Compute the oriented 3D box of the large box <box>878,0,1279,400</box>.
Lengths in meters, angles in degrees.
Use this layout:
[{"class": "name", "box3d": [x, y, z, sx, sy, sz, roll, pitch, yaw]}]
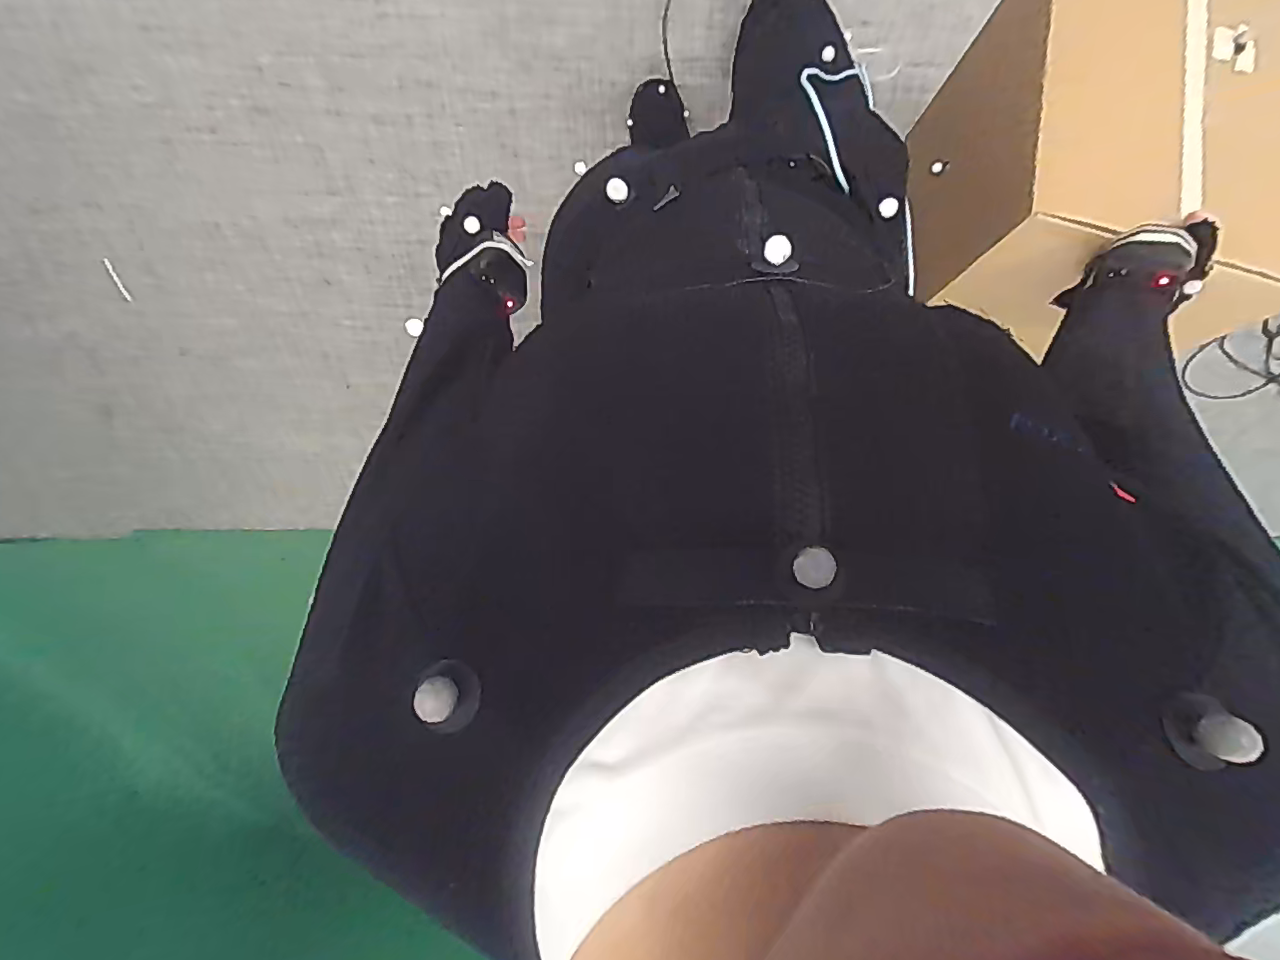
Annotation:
[{"class": "large box", "box3d": [0.558, -0.370, 0.727, 0.320, 0.408, 0.320, 14, 167, -3]}]
